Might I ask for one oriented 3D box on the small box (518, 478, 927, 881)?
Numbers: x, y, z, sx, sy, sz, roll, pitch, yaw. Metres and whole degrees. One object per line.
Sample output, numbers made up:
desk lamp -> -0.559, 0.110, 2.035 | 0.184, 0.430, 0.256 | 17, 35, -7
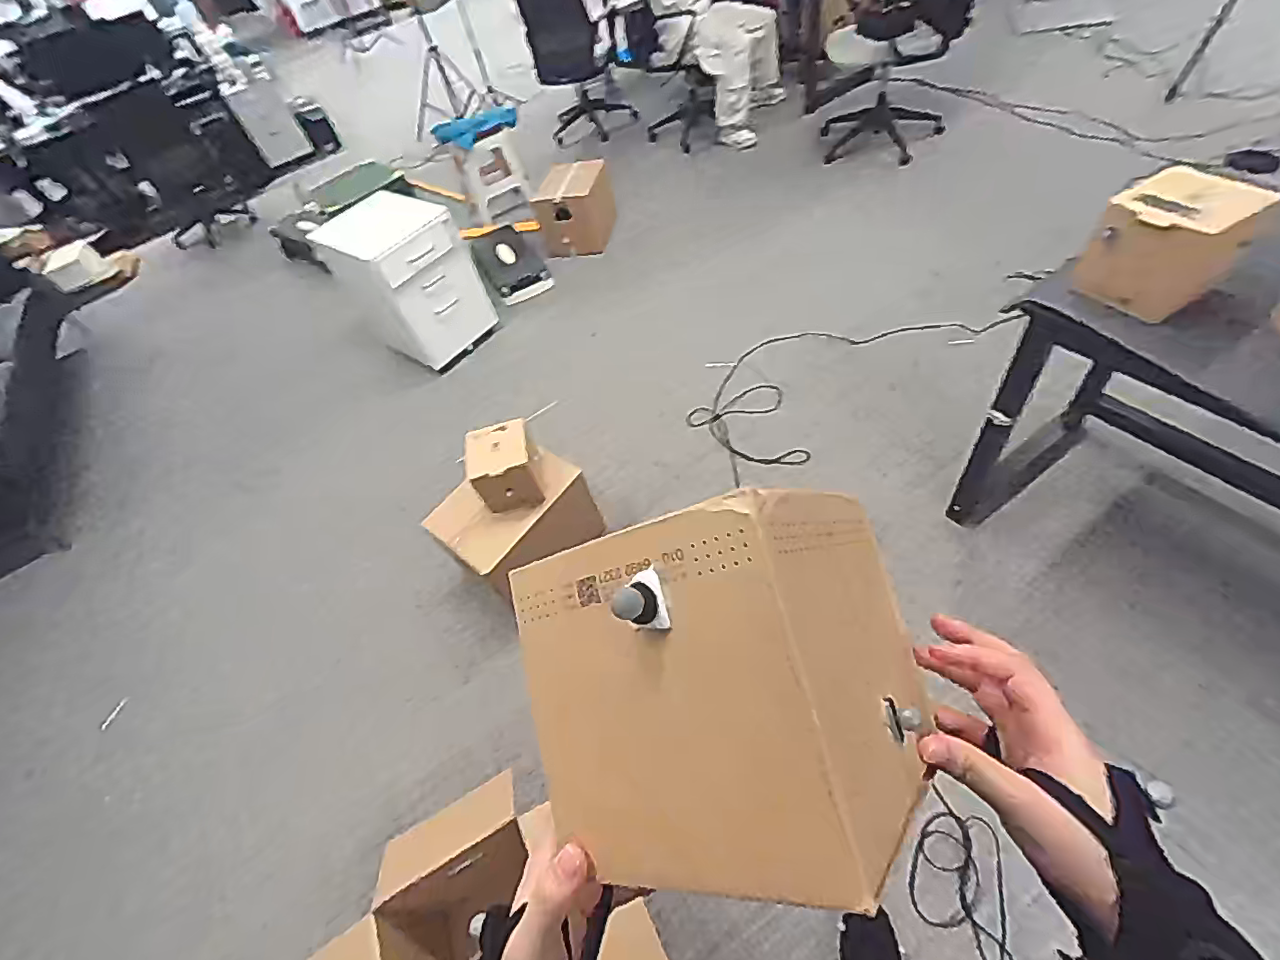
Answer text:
small box -> 0.051, 0.102, 0.334 | 0.168, 0.179, 0.176 | -23, 73, 34

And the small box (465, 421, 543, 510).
small box -> -0.383, -0.033, 1.532 | 0.168, 0.176, 0.179 | -16, 53, 1
